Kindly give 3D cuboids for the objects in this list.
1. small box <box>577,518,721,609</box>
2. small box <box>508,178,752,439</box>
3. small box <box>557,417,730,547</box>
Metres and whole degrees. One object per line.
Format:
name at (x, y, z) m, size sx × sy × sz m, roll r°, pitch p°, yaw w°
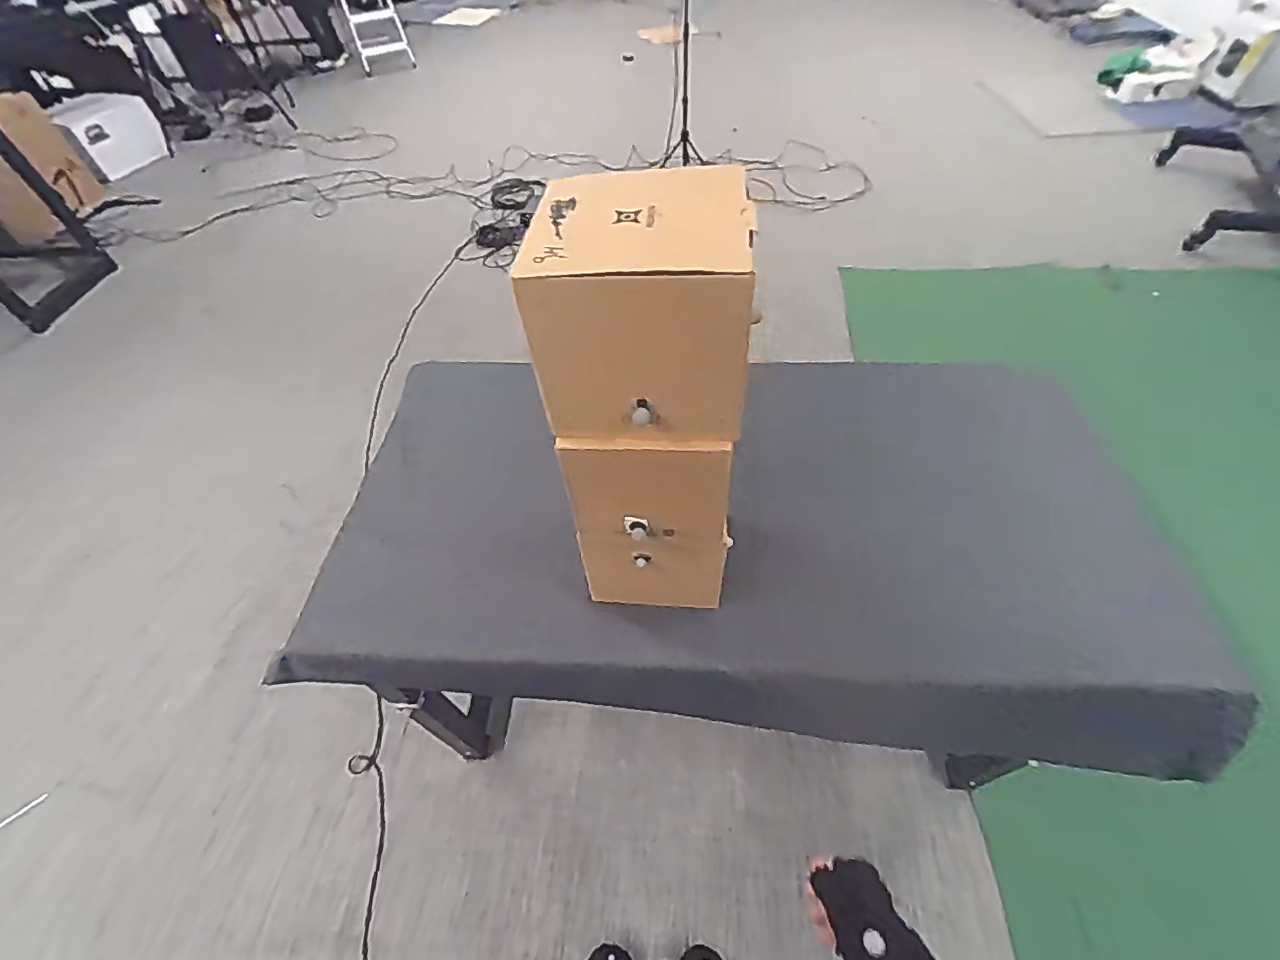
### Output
small box at (0.021, 0.067, 0.754) m, size 0.179 × 0.176 × 0.168 m, roll 3°, pitch 52°, yaw 5°
small box at (0.002, -0.150, 0.492) m, size 0.179 × 0.176 × 0.168 m, roll 1°, pitch 51°, yaw 6°
small box at (0.012, -0.044, 0.616) m, size 0.168 × 0.176 × 0.179 m, roll 0°, pitch 52°, yaw 6°
